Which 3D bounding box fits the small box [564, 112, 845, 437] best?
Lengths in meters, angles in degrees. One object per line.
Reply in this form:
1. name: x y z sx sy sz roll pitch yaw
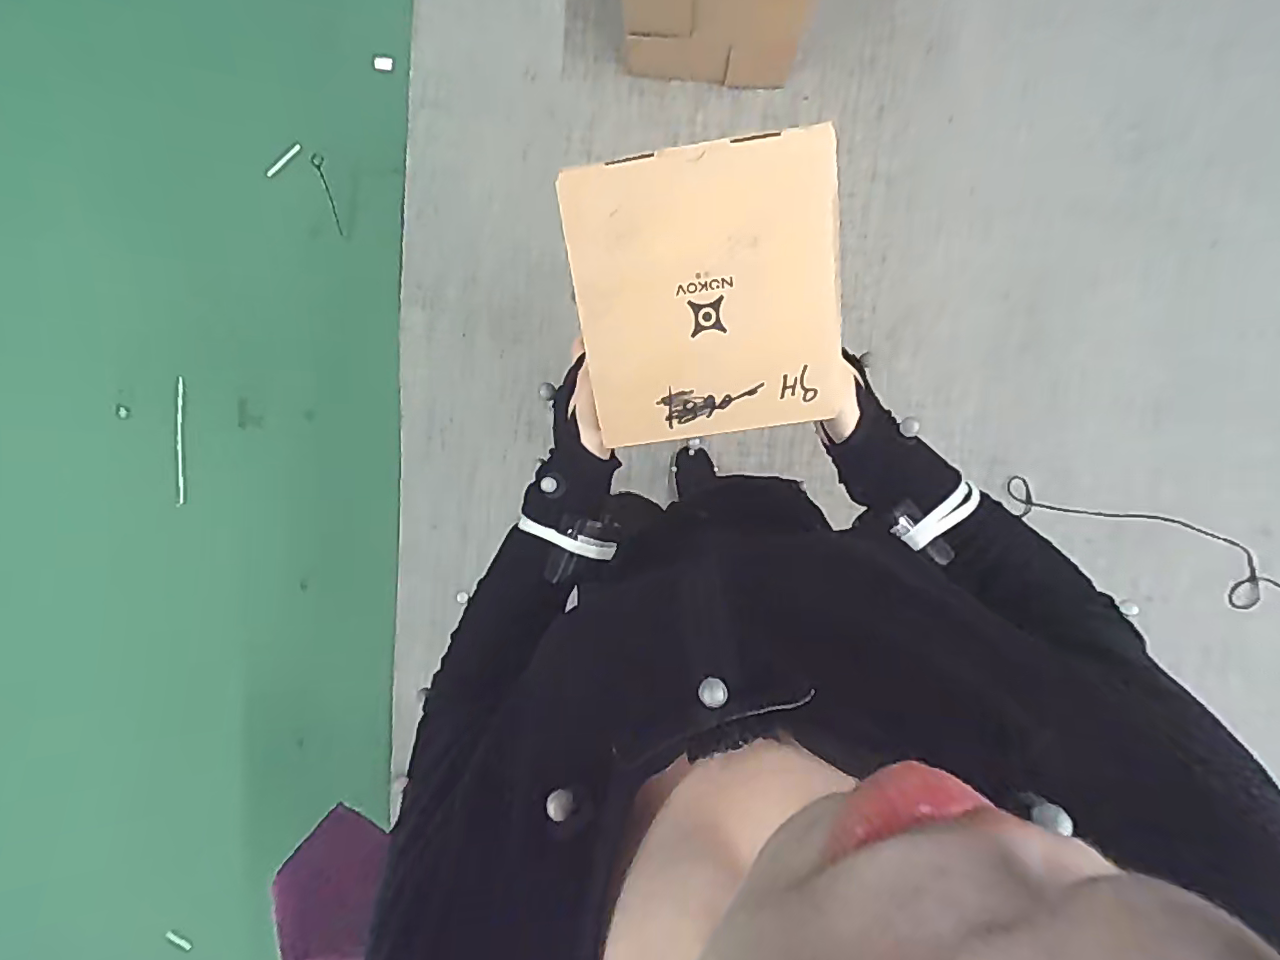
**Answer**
1. small box: 0.046 -0.145 0.415 0.168 0.176 0.179 -8 109 4
